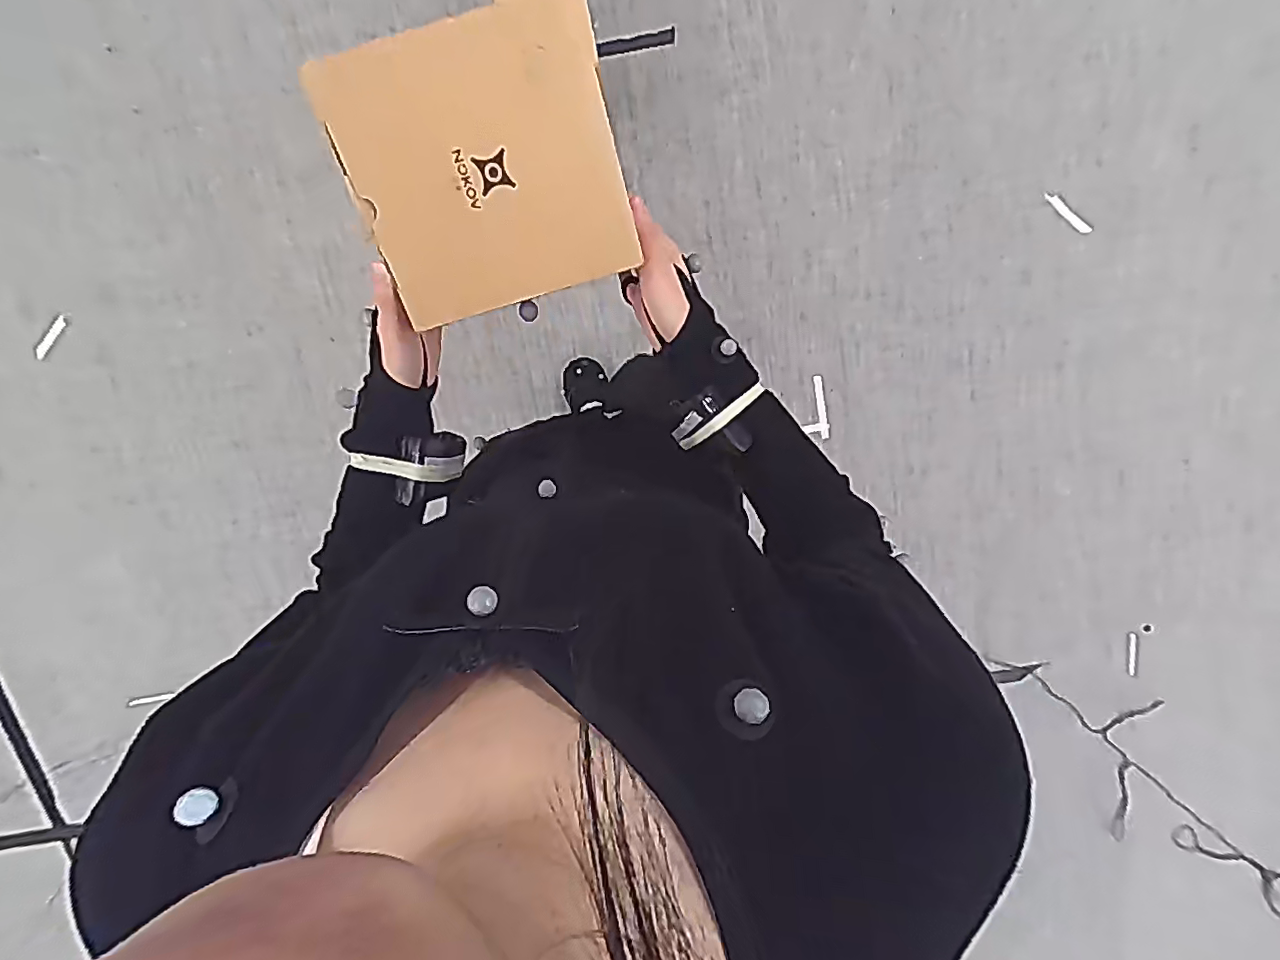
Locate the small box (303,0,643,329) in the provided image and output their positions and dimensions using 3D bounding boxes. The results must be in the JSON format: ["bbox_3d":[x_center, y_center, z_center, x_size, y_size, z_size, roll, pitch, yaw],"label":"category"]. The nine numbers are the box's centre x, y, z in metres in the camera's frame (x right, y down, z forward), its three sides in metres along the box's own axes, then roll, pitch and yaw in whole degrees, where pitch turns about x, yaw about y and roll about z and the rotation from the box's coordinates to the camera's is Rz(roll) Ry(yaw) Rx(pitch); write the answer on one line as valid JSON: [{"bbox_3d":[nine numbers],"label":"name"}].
[{"bbox_3d":[-0.109,-0.235,0.428,0.179,0.176,0.168,-16,115,1],"label":"small box"}]
